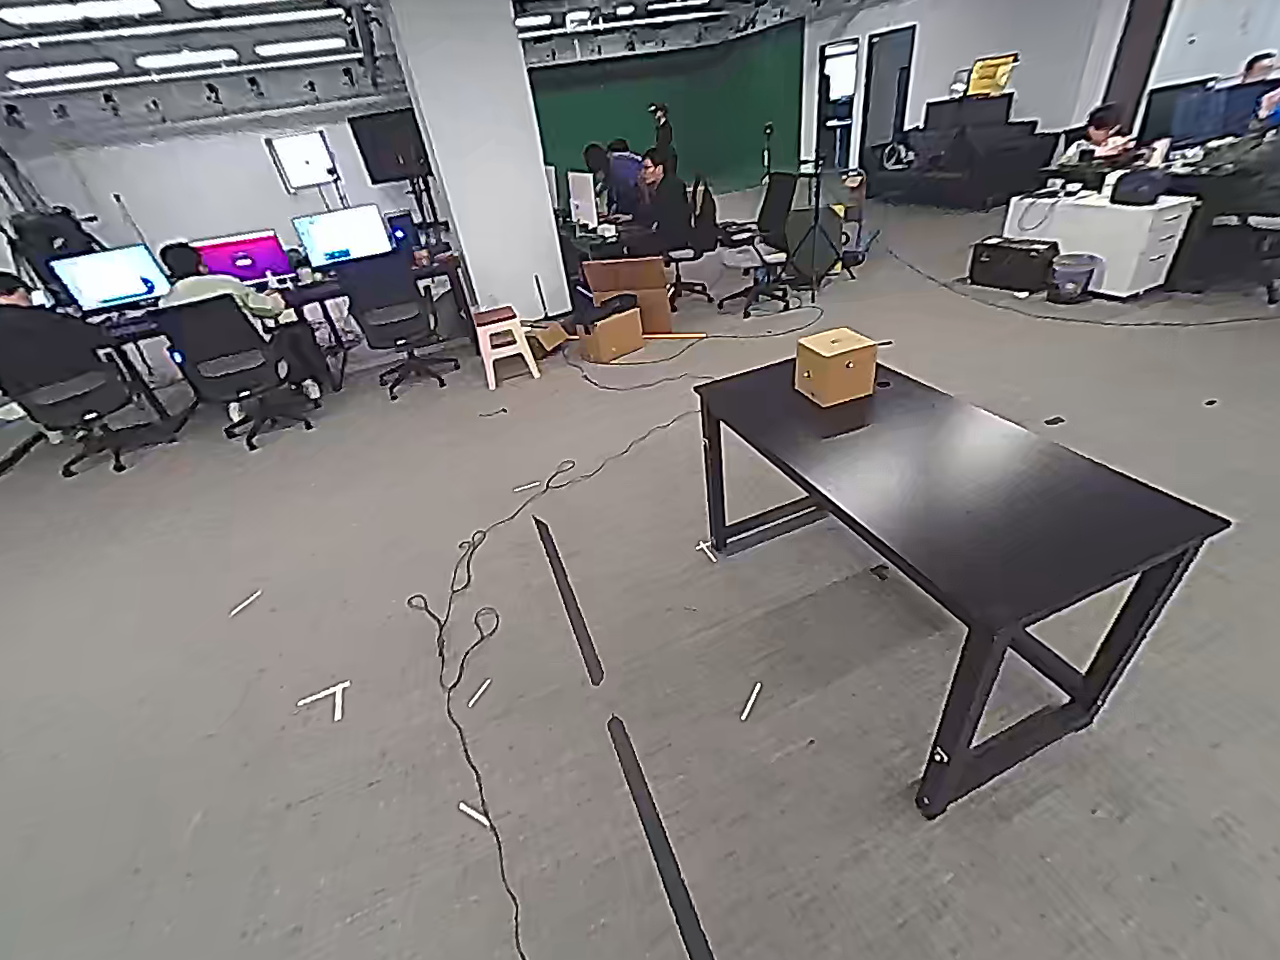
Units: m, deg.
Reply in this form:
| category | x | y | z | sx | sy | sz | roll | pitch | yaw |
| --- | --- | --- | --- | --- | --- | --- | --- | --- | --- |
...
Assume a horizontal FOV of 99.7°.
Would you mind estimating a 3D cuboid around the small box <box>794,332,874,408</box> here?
| category | x | y | z | sx | sy | sz | roll | pitch | yaw |
| --- | --- | --- | --- | --- | --- | --- | --- | --- | --- |
| small box | 0.601 | -0.342 | 1.688 | 0.179 | 0.176 | 0.168 | -17 | 35 | -11 |
